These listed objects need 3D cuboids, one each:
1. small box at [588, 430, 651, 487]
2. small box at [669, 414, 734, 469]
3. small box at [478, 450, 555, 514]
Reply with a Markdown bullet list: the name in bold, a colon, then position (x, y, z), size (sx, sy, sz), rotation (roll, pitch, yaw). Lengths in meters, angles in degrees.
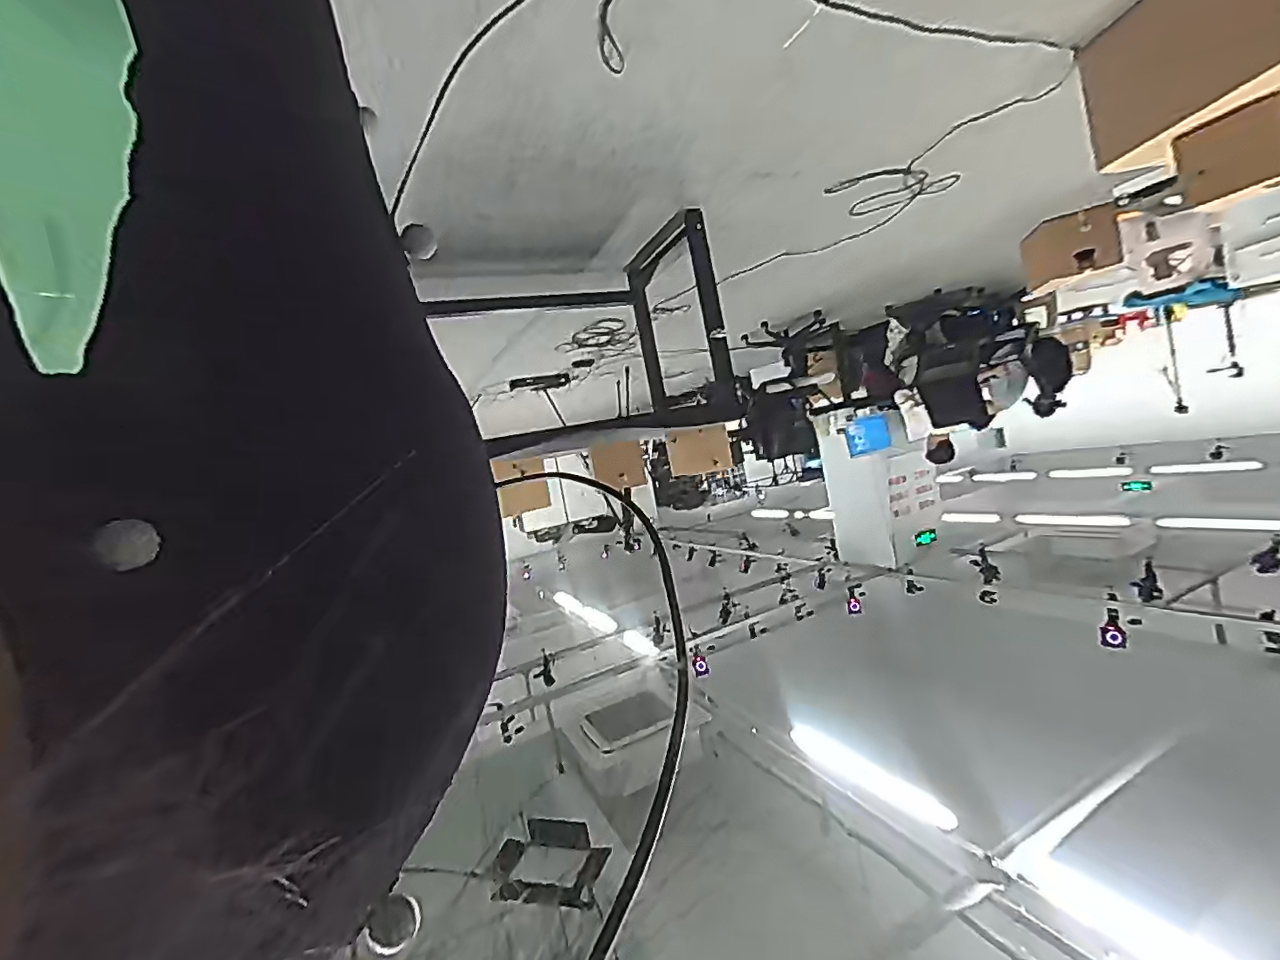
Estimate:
- **small box**: position (-0.075, -0.076, 1.876), size (0.179, 0.176, 0.168), rotation (-11, -178, -8)
- **small box**: position (0.215, -0.138, 1.941), size (0.168, 0.176, 0.179), rotation (-12, -177, -19)
- **small box**: position (-0.394, 0.004, 1.702), size (0.168, 0.176, 0.179), rotation (-15, -175, -40)
